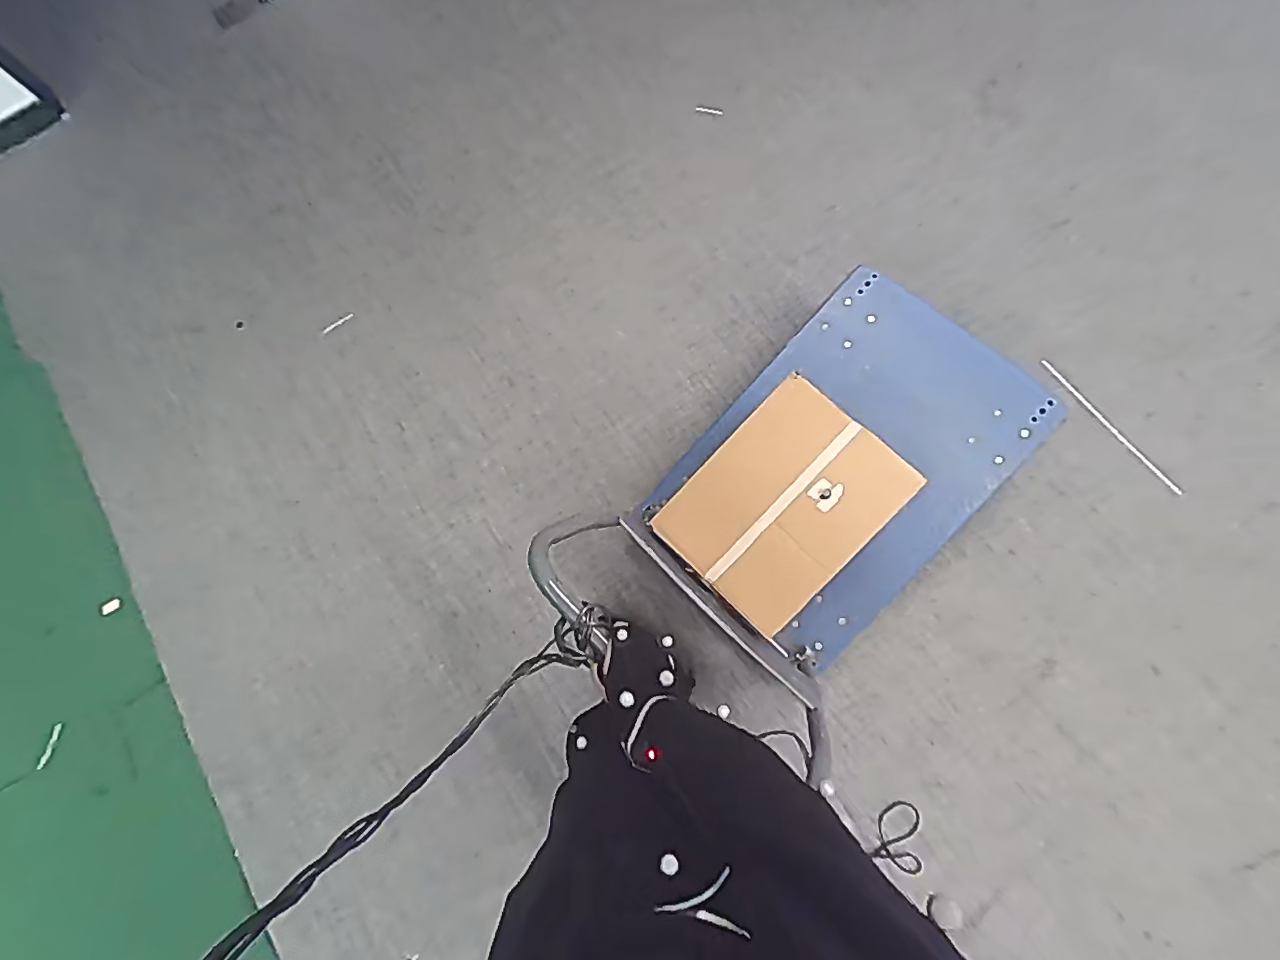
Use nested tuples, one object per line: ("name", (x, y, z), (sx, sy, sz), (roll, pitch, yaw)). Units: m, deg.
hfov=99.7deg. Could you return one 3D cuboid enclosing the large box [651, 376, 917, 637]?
("large box", (0.286, 0.064, 1.152), (0.408, 0.320, 0.320), (-45, 78, 4))
